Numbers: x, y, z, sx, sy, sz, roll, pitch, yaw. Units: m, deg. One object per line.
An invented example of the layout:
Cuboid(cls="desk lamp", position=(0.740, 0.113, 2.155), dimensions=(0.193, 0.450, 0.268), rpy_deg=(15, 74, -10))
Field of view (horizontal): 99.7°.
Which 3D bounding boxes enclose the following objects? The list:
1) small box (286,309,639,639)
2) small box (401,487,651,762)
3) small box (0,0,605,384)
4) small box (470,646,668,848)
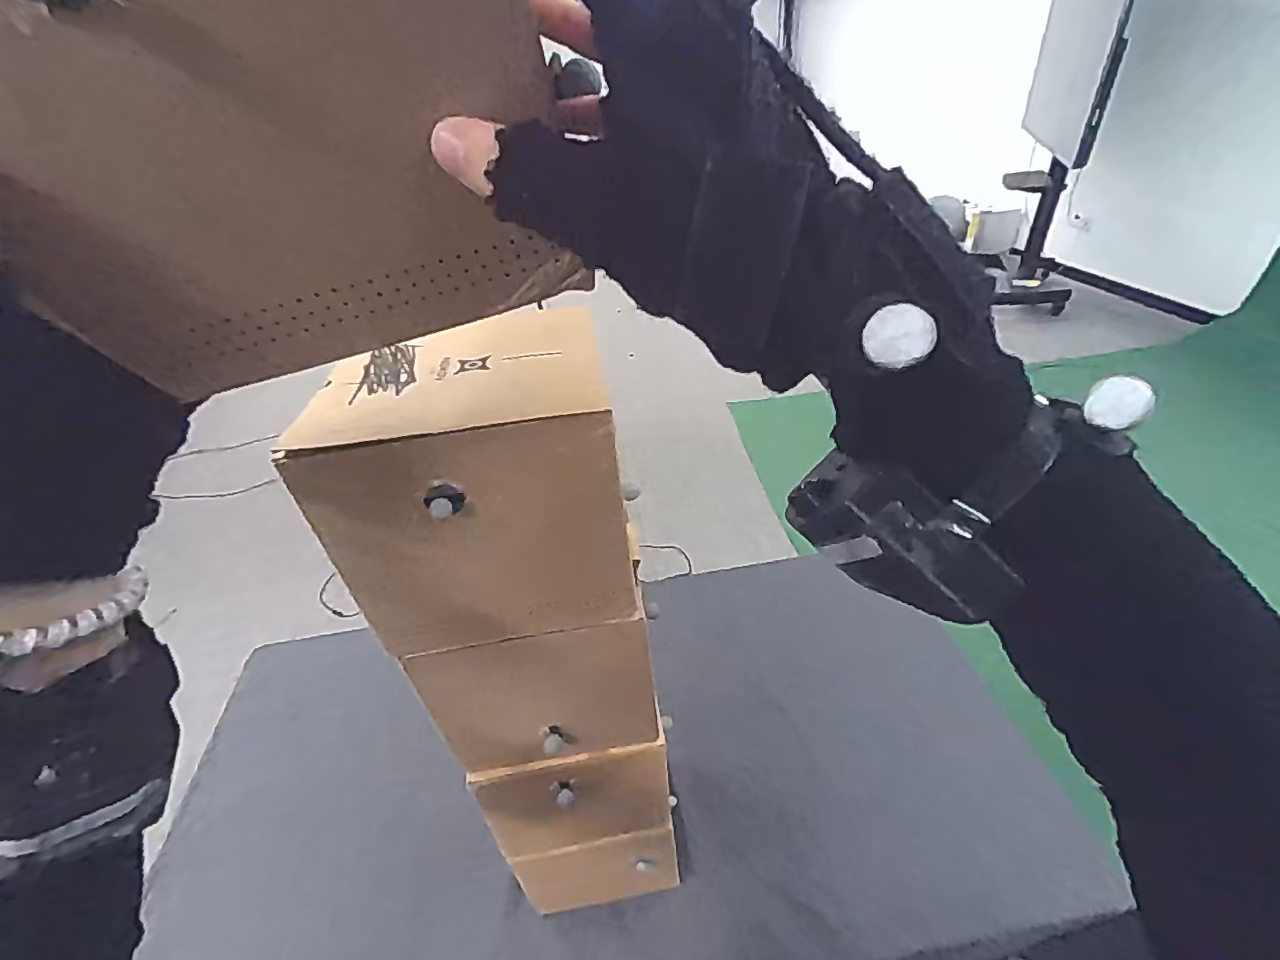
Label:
Cuboid(cls="small box", position=(-0.104, -0.006, 0.395), dimensions=(0.179, 0.176, 0.168), rpy_deg=(-9, 37, -4))
Cuboid(cls="small box", position=(-0.085, 0.127, 0.491), dimensions=(0.179, 0.176, 0.168), rpy_deg=(-7, 36, -3))
Cuboid(cls="small box", position=(-0.123, -0.156, 0.185), dimensions=(0.179, 0.176, 0.168), rpy_deg=(-14, 63, 1))
Cuboid(cls="small box", position=(-0.068, 0.261, 0.583), dimensions=(0.179, 0.176, 0.168), rpy_deg=(-9, 36, -5))
